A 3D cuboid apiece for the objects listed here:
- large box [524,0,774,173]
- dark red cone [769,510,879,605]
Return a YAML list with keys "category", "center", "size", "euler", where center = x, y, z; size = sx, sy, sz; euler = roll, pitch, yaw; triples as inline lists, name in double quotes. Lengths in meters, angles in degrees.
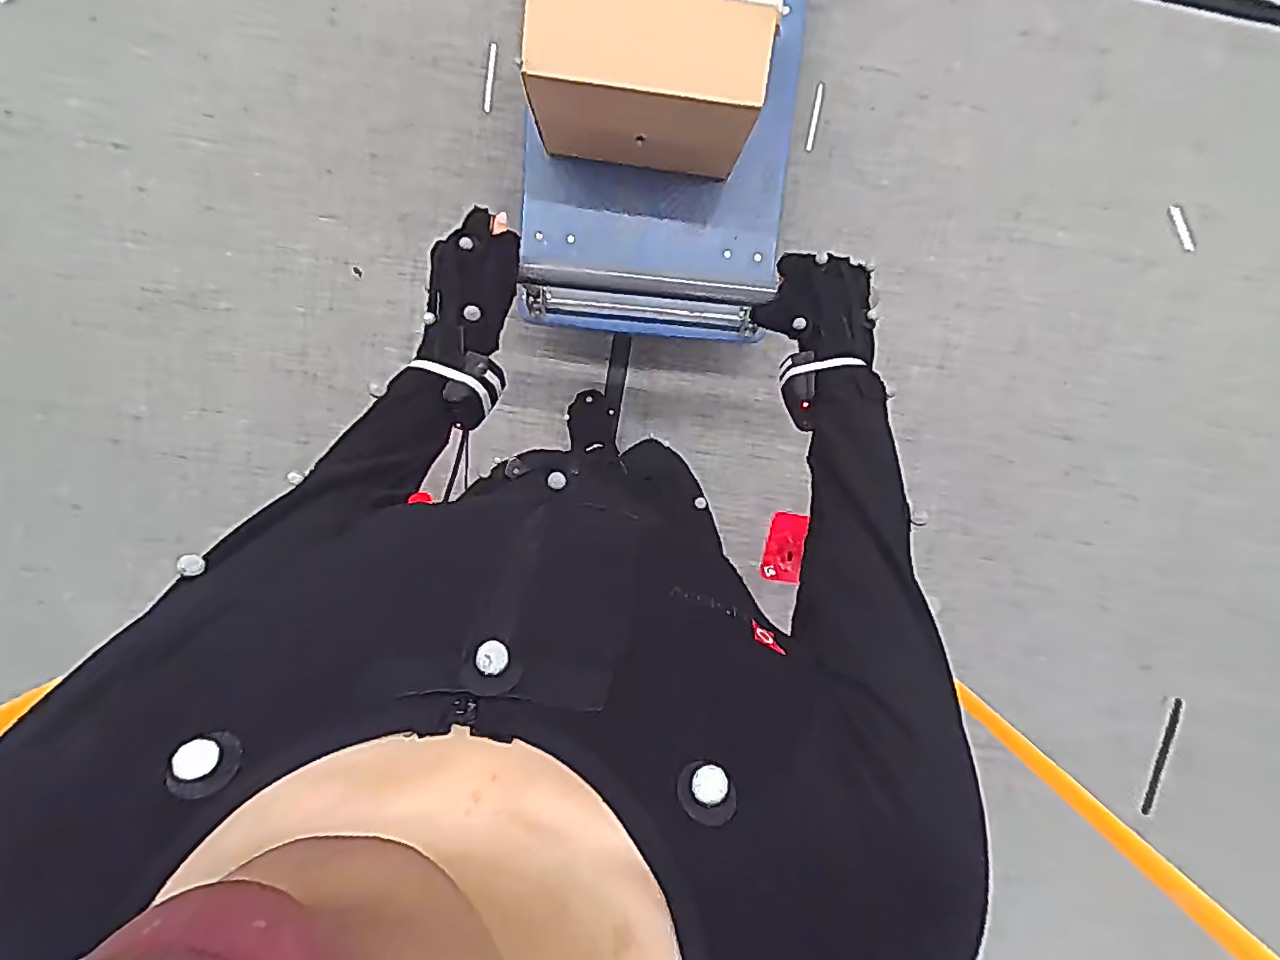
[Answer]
- category: "large box"
  center: [0.020, -0.813, 1.016]
  size: [0.408, 0.320, 0.320]
  euler: [6, 99, -2]
- category: "dark red cone"
  center: [0.469, 0.215, 1.320]
  size: [0.201, 0.394, 0.202]
  euler: [8, 99, -5]
